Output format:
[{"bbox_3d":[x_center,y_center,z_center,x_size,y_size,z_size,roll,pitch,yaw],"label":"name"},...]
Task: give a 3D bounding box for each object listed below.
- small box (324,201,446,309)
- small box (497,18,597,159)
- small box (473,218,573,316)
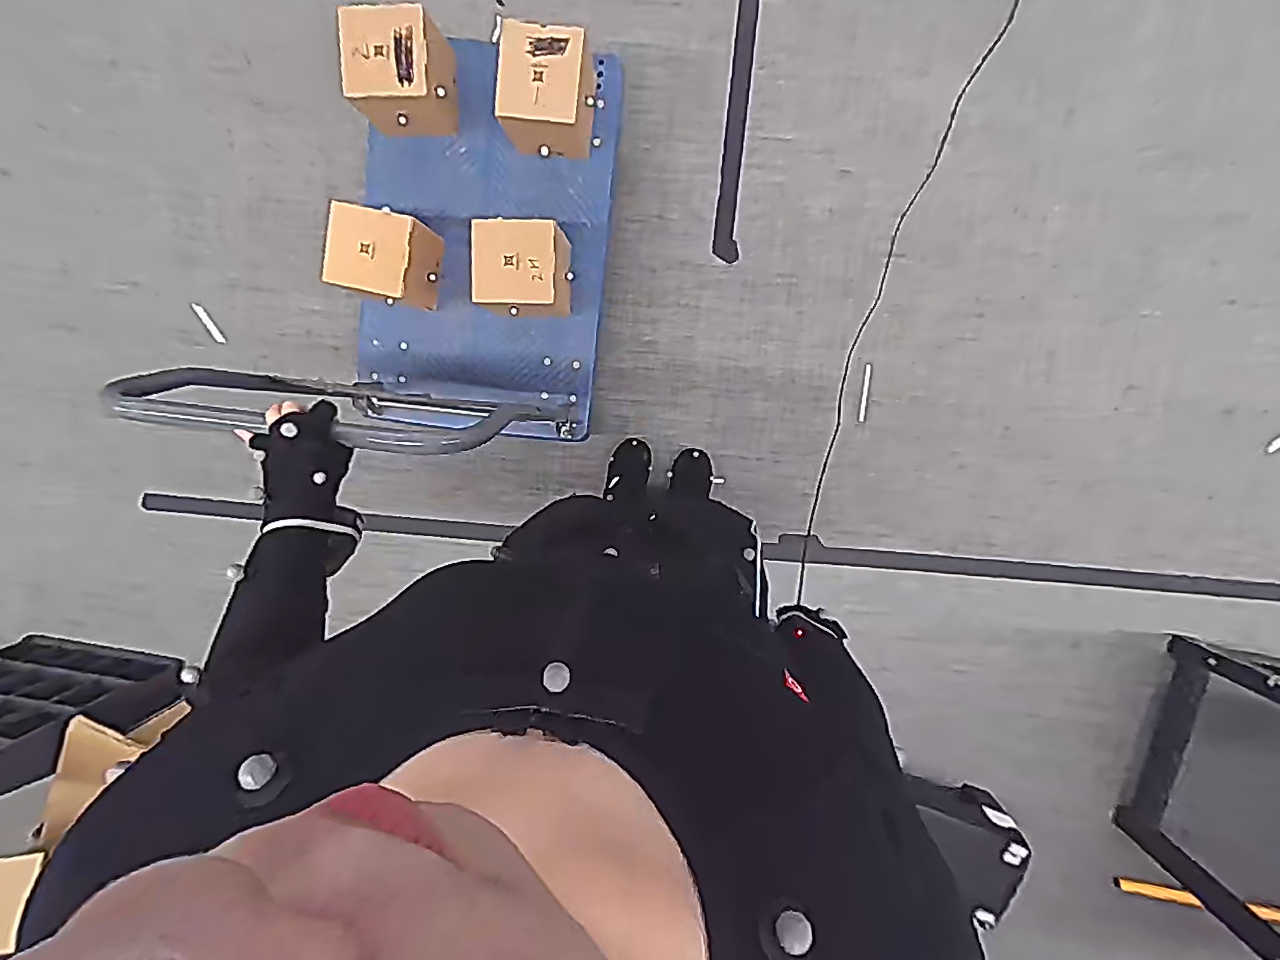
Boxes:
[{"bbox_3d":[-0.556,-0.488,1.196,0.179,0.176,0.168,11,97,0],"label":"small box"},{"bbox_3d":[-0.187,-0.807,1.130,0.168,0.176,0.179,8,99,2],"label":"small box"},{"bbox_3d":[-0.250,-0.457,1.181,0.179,0.176,0.168,2,98,3],"label":"small box"}]
